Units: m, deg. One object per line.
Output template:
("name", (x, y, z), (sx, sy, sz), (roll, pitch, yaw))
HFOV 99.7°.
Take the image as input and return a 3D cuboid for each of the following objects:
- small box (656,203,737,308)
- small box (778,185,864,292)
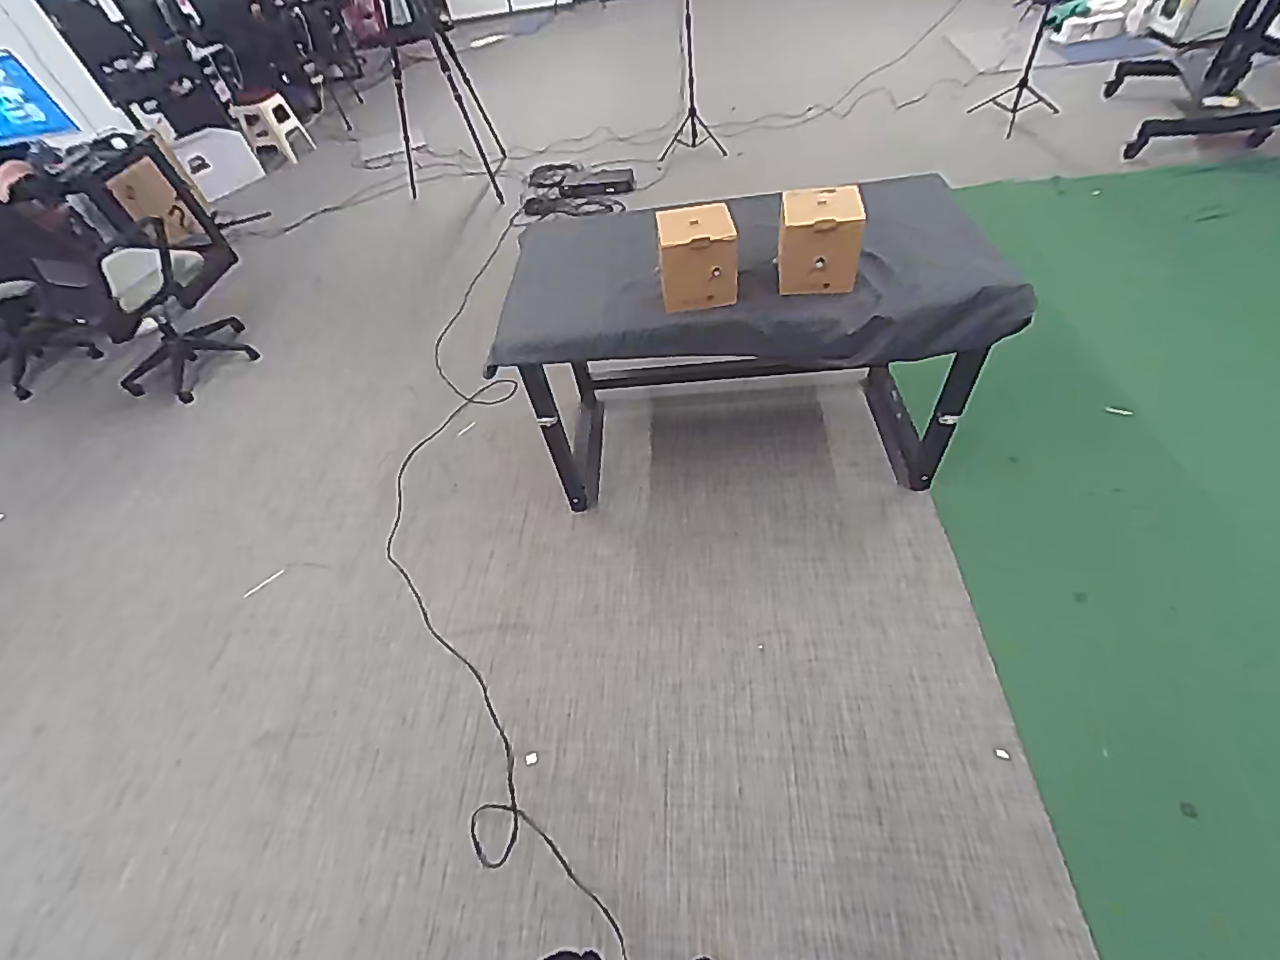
("small box", (0.132, -0.518, 1.264), (0.168, 0.176, 0.179), (-7, 47, 2))
("small box", (0.409, -0.549, 1.244), (0.168, 0.176, 0.179), (1, 51, 11))
